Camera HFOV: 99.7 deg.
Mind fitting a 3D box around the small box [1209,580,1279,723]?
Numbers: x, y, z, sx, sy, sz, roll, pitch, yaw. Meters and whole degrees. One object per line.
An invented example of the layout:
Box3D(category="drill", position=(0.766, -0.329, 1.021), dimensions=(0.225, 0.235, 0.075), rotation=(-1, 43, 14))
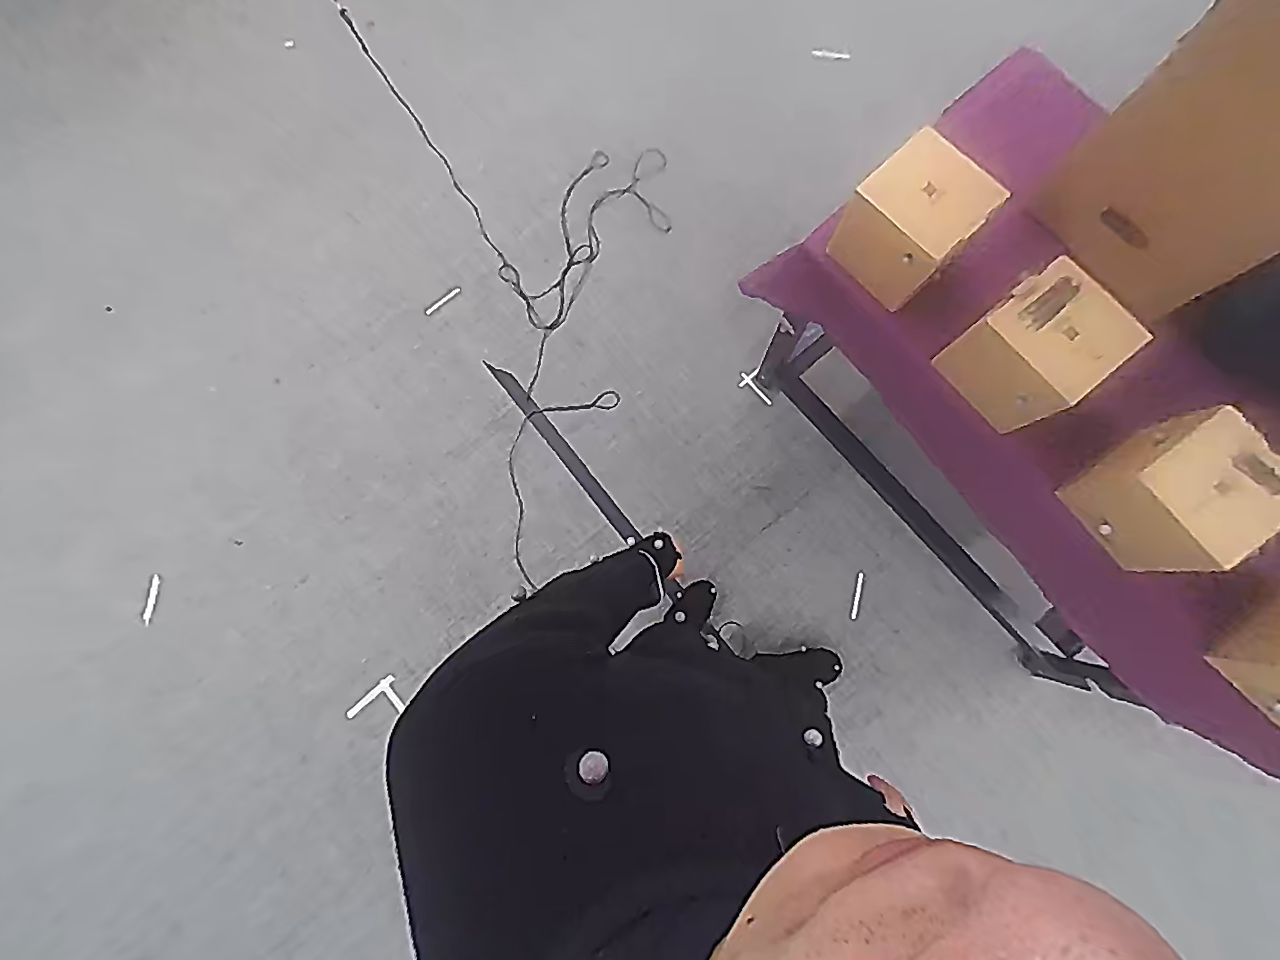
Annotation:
Box3D(category="small box", position=(1.002, 0.255, 0.773), dimensions=(0.179, 0.176, 0.168), rotation=(-42, 80, -4))

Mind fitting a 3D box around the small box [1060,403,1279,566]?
Box3D(category="small box", position=(0.808, 0.015, 0.823), dimensions=(0.179, 0.176, 0.168), rotation=(-36, 81, -3))

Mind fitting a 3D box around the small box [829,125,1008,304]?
Box3D(category="small box", position=(0.454, -0.436, 0.915), dimensions=(0.168, 0.176, 0.179), rotation=(-43, 82, -4))
